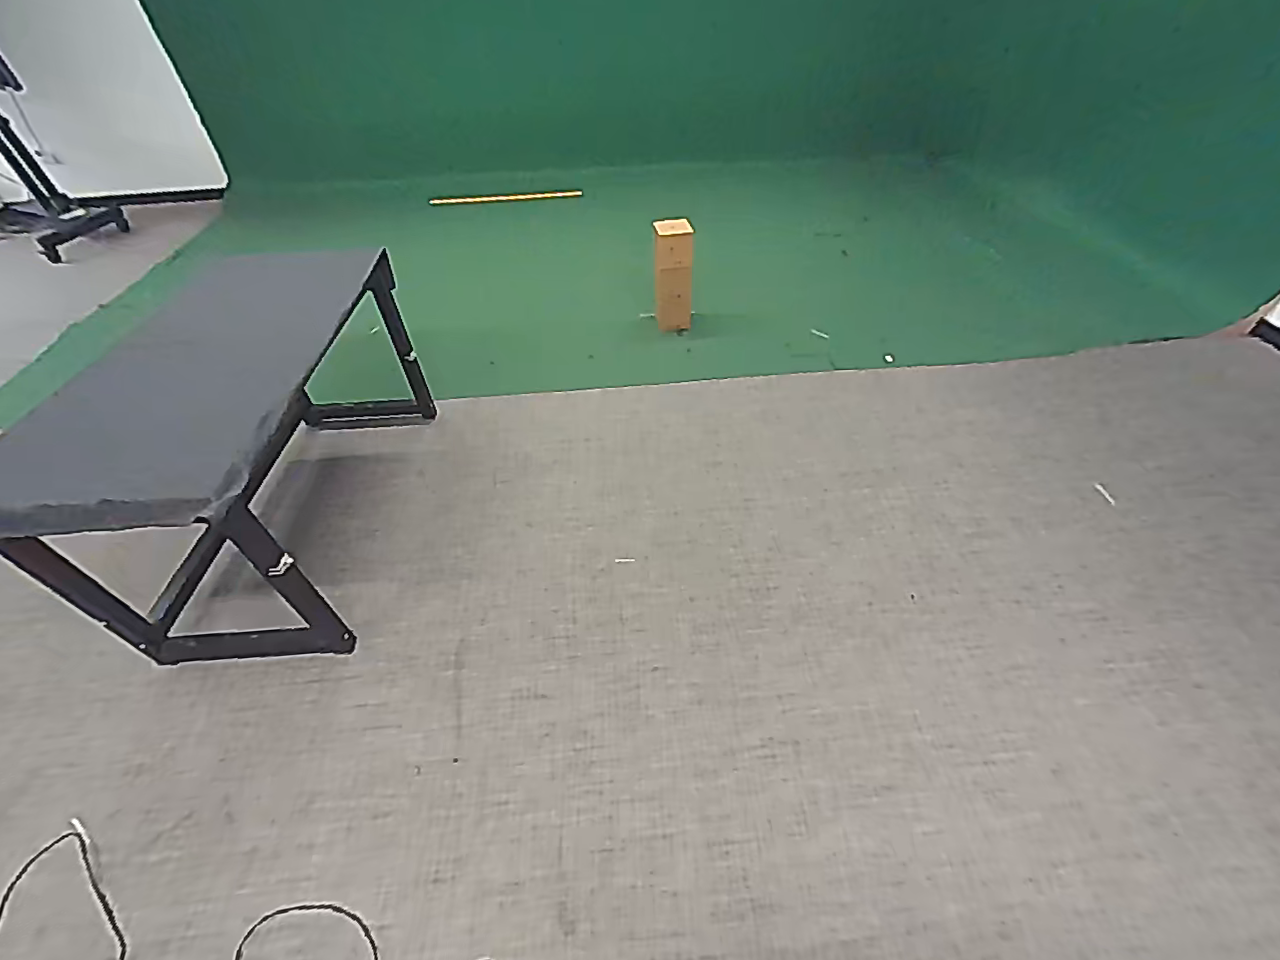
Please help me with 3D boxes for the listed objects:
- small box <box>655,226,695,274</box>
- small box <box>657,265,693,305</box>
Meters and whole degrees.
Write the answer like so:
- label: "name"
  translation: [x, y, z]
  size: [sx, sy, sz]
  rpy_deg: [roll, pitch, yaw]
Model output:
- label: "small box"
  translation: [0.172, -1.131, 2.668]
  size: [0.168, 0.176, 0.179]
  rpy_deg: [-8, 44, -5]
- label: "small box"
  translation: [0.177, -1.018, 2.784]
  size: [0.168, 0.176, 0.179]
  rpy_deg: [-7, 44, -3]
